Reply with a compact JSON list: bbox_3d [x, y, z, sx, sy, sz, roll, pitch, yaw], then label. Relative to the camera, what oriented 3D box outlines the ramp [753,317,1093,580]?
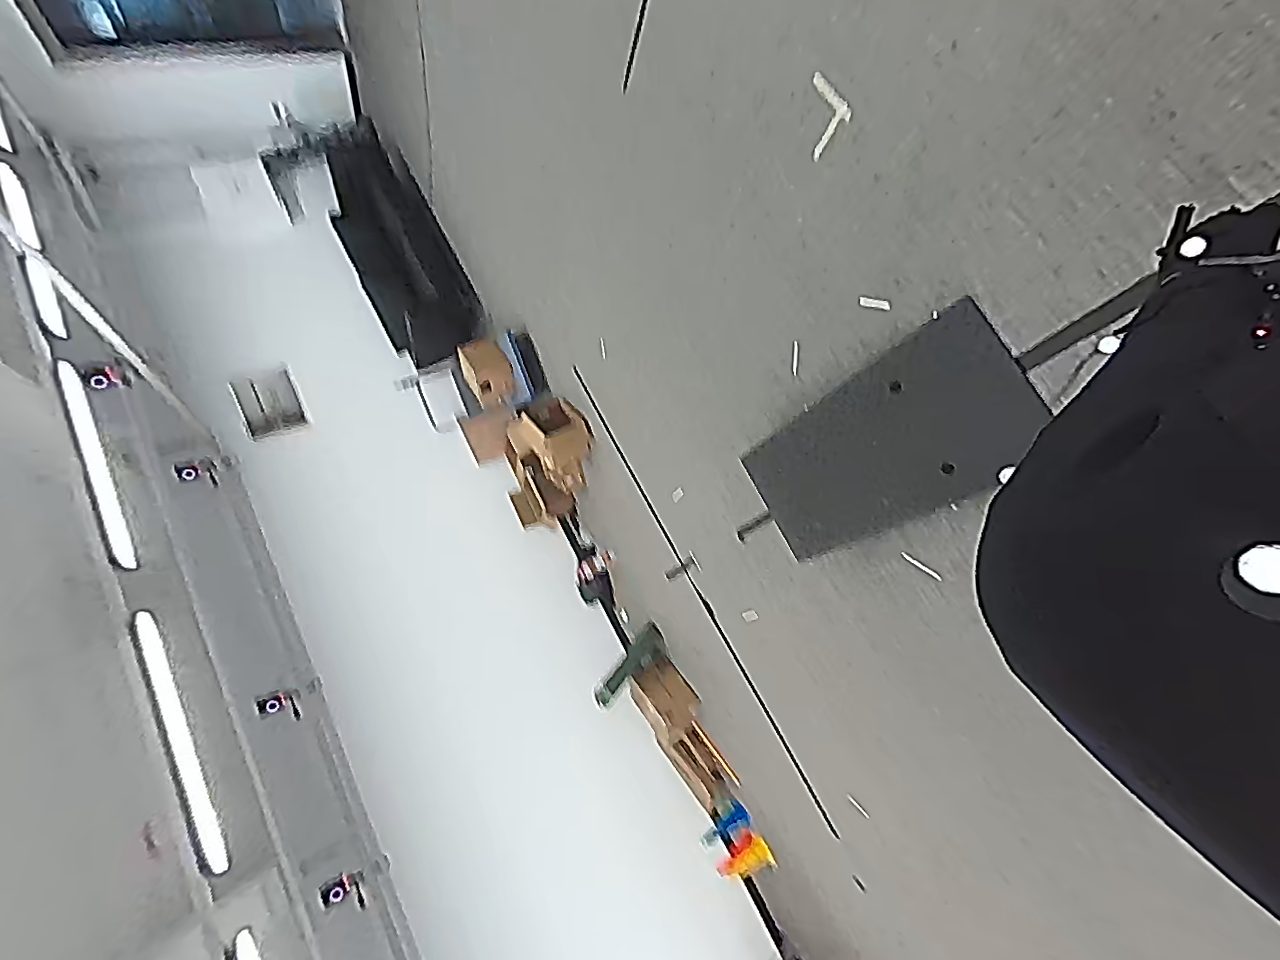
[{"bbox_3d":[0.788,-0.026,1.763,0.509,0.206,0.991,63,155,14],"label":"ramp"}]
